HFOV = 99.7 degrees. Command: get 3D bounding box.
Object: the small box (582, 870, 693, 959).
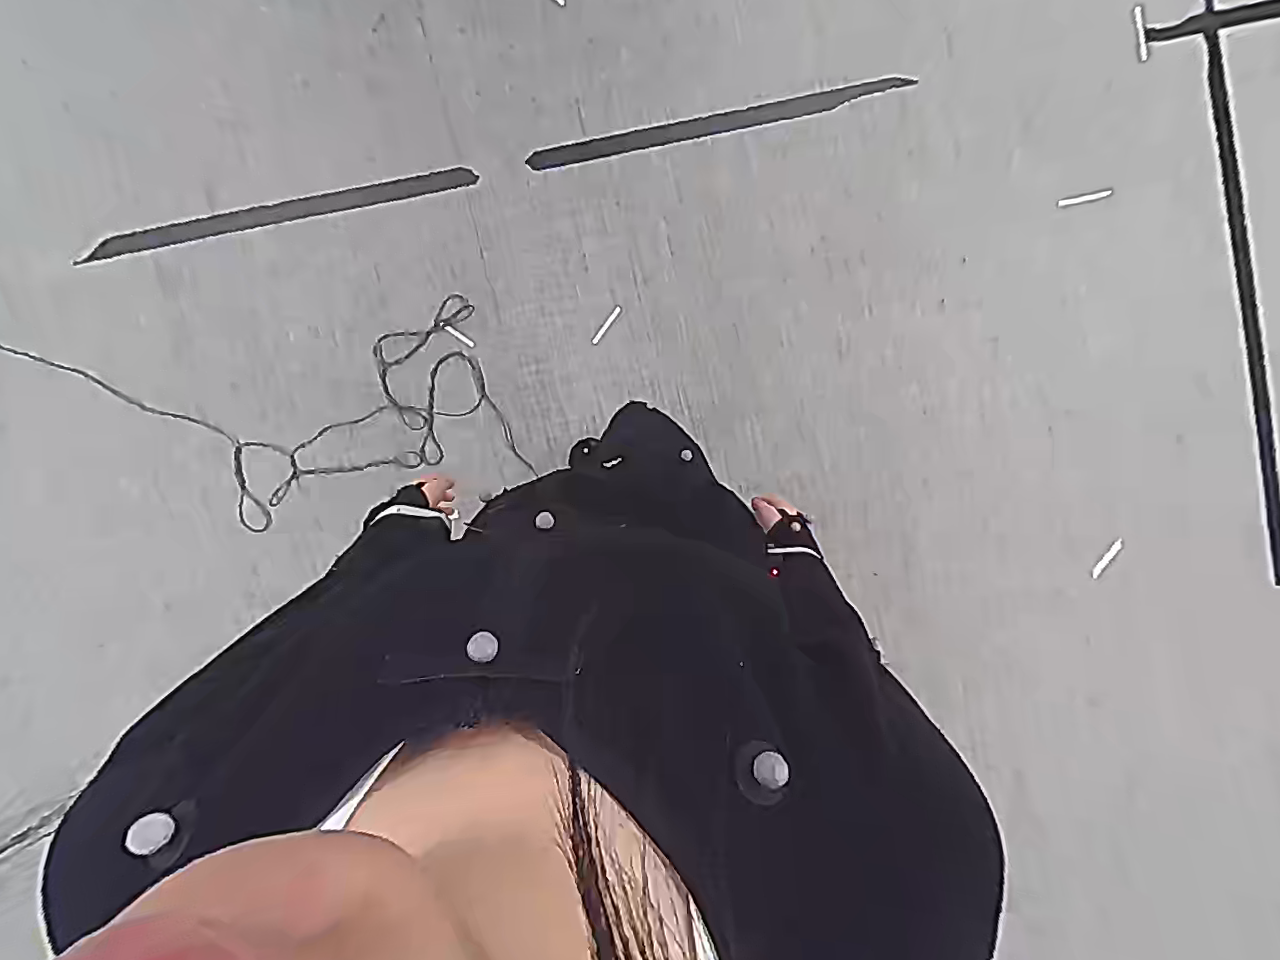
[{"bbox_3d":[0.000,0.778,0.879,0.168,0.176,0.179,-11,95,-2],"label":"small box"}]
